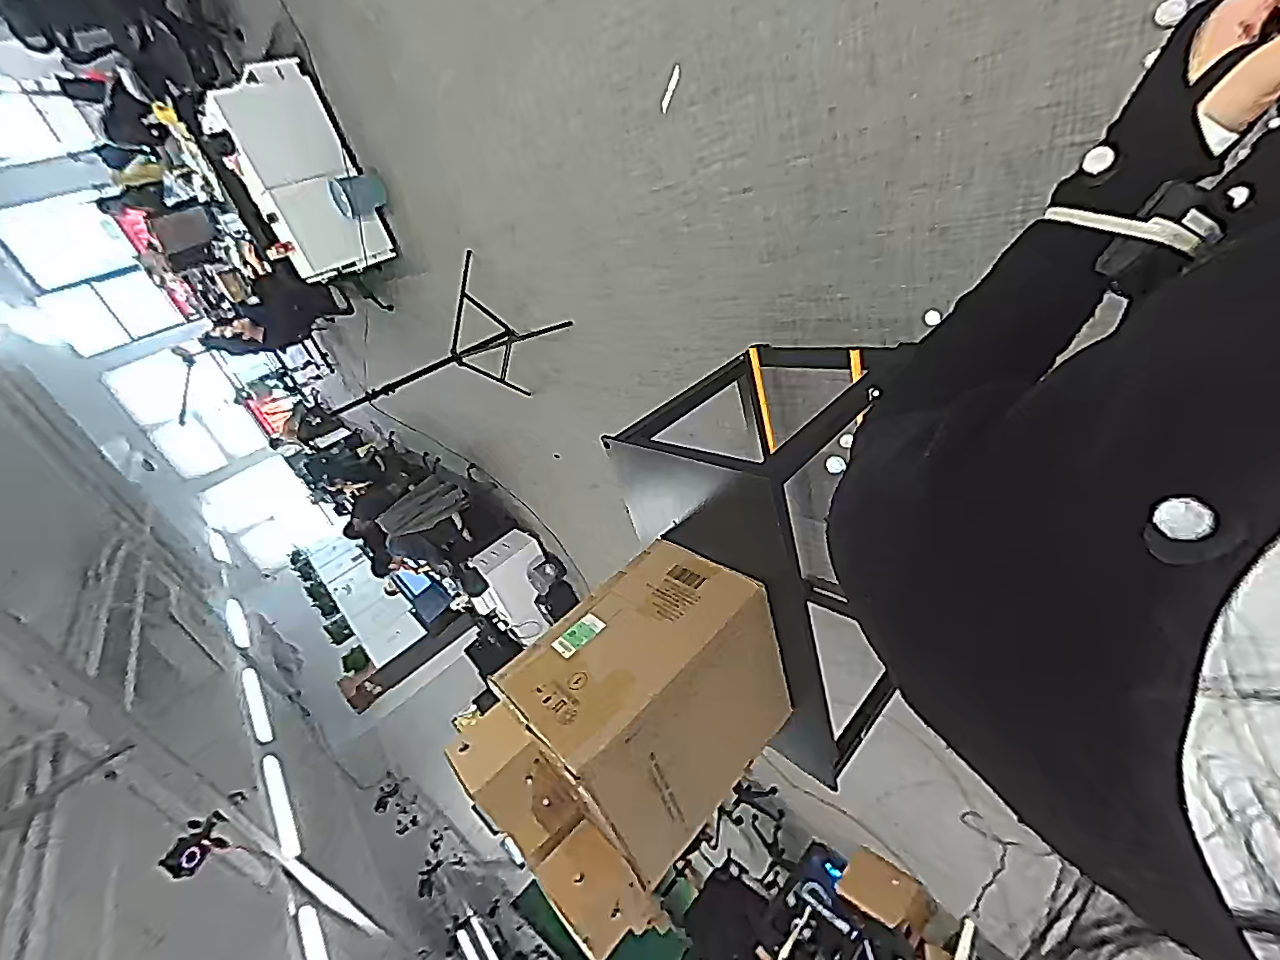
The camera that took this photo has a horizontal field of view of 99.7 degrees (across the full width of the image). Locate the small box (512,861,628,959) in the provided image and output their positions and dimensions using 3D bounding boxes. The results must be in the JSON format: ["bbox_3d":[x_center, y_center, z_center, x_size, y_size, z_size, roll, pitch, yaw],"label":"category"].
[{"bbox_3d":[-0.147,1.010,1.207,0.179,0.176,0.168,10,127,48],"label":"small box"}]

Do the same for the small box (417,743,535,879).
[{"bbox_3d":[-0.368,0.736,1.229,0.179,0.176,0.168,18,138,49],"label":"small box"}]

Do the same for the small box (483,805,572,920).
[{"bbox_3d":[-0.277,0.975,1.361,0.168,0.176,0.179,19,135,47],"label":"small box"}]
